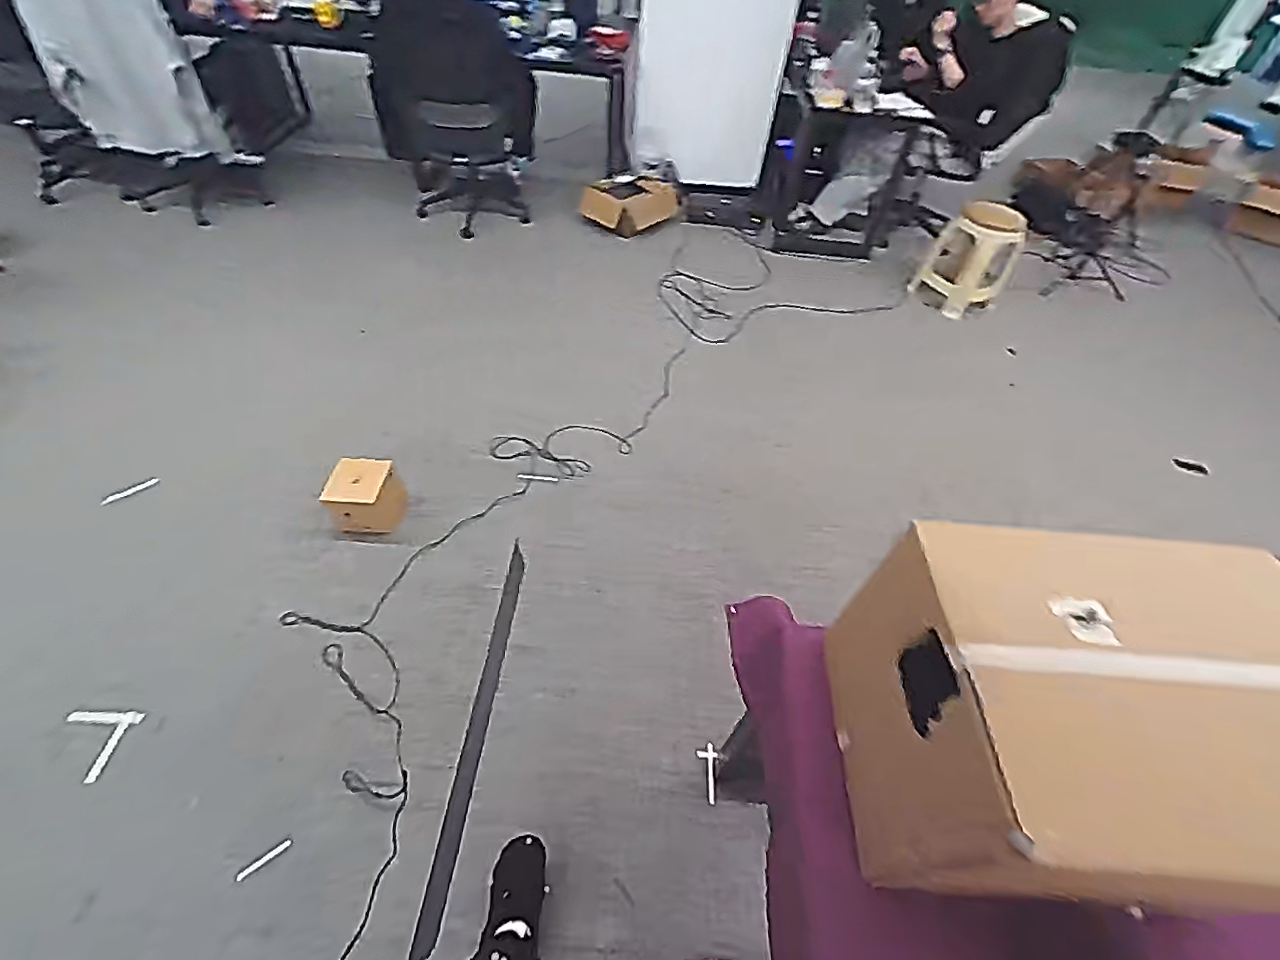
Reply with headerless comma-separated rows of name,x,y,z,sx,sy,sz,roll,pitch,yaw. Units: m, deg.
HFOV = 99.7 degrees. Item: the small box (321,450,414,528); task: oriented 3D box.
small box,-0.860,0.022,1.716,0.179,0.176,0.168,-12,30,8
